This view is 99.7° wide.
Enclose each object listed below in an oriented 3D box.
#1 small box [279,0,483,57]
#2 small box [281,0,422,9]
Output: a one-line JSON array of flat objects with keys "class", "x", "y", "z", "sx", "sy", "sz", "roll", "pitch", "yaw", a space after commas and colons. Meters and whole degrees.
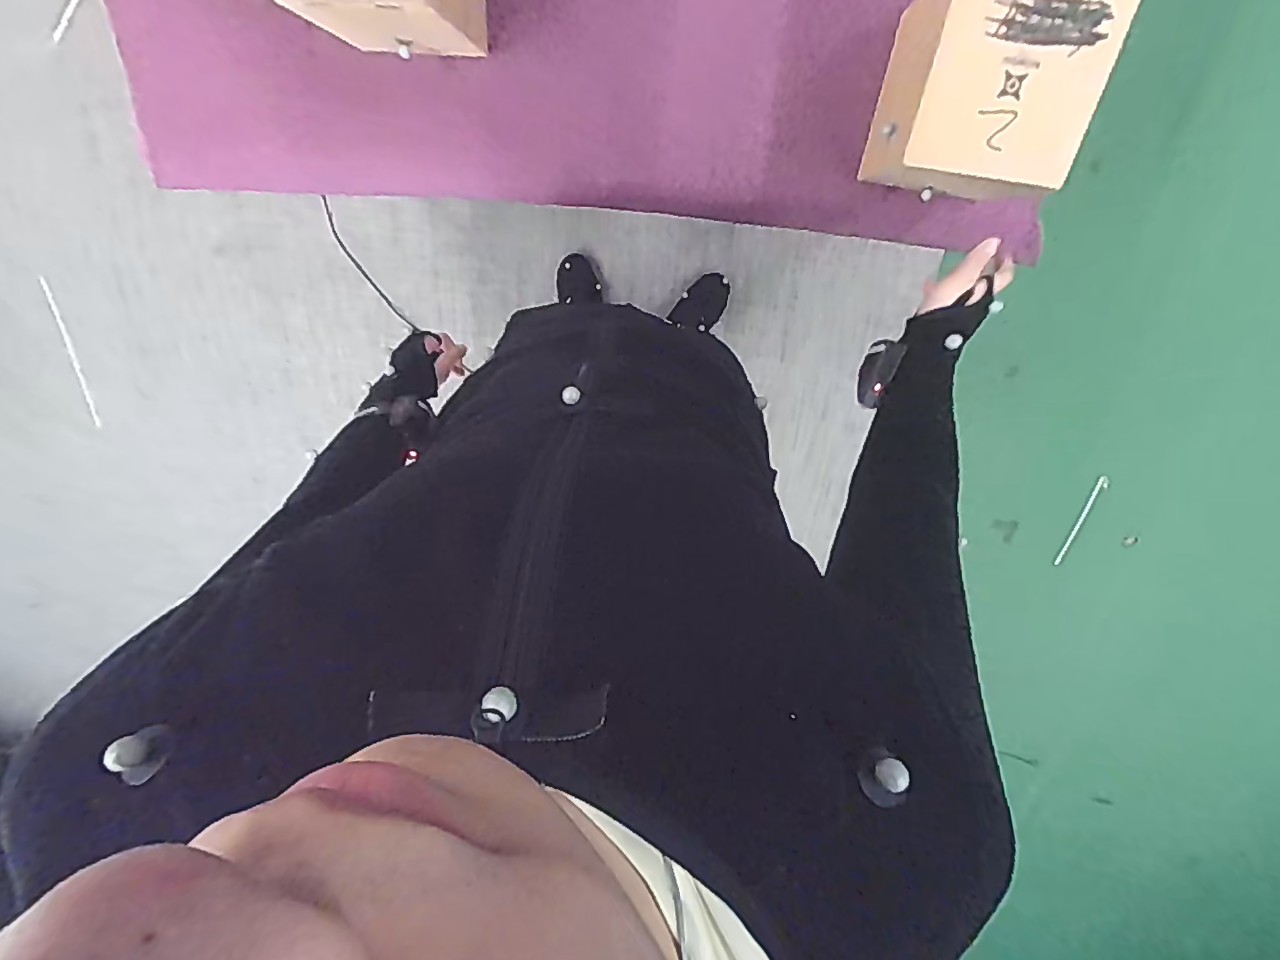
[{"class": "small box", "x": -0.275, "y": -0.581, "z": 0.570, "sx": 0.168, "sy": 0.176, "sz": 0.179, "roll": 5, "pitch": 116, "yaw": 3}, {"class": "small box", "x": -0.287, "y": -0.512, "z": 0.420, "sx": 0.168, "sy": 0.176, "sz": 0.179, "roll": 5, "pitch": 115, "yaw": 3}]
